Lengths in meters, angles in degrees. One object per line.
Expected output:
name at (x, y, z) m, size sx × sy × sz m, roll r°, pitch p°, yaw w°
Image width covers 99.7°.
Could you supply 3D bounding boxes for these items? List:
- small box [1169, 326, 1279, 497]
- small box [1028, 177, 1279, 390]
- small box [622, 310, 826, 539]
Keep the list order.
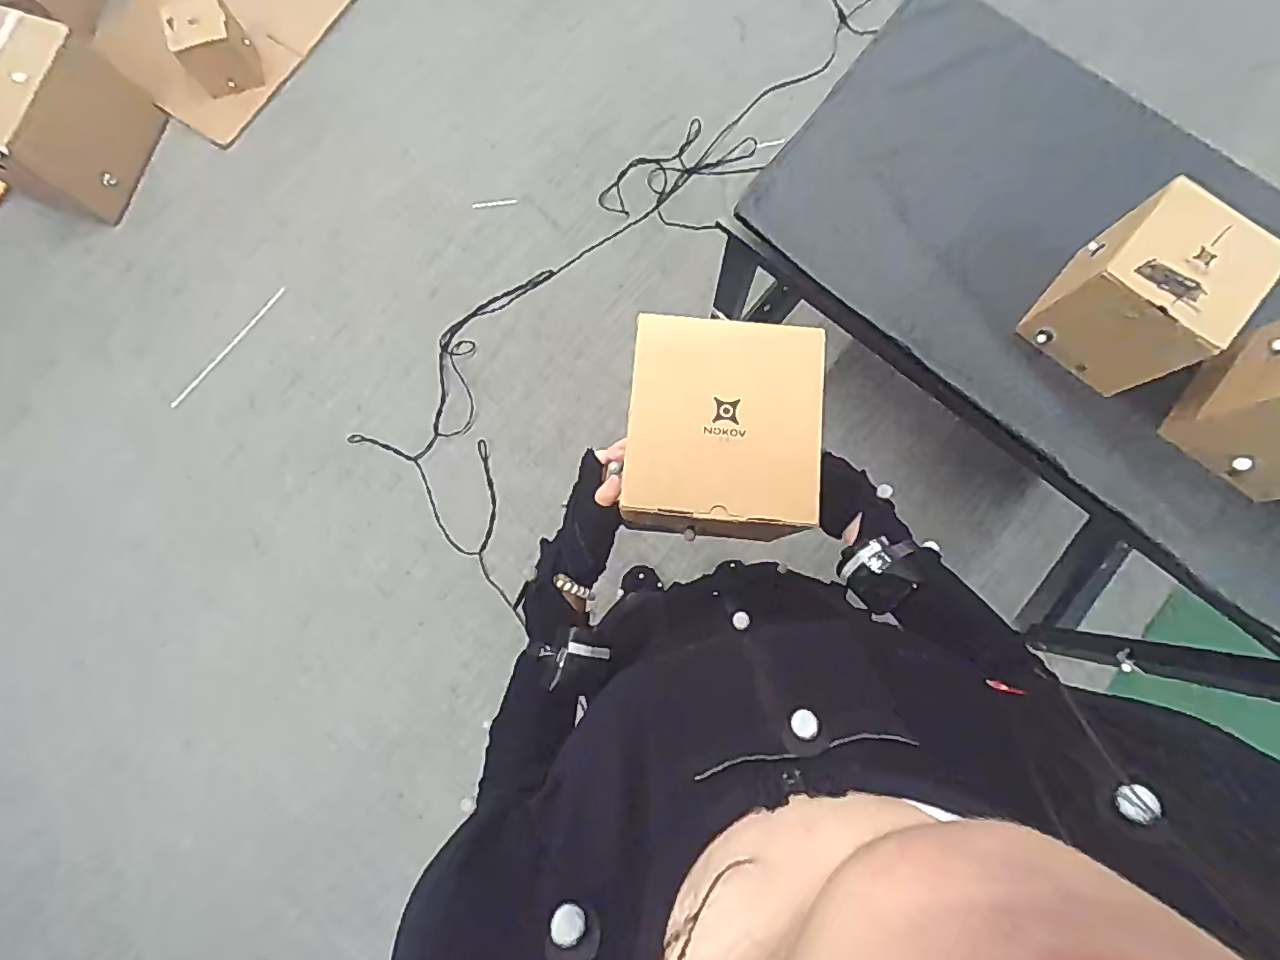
small box at (0.868, -0.100, 0.705) m, size 0.168 × 0.176 × 0.179 m, roll 39°, pitch 83°, yaw 8°
small box at (0.682, -0.252, 0.736) m, size 0.168 × 0.176 × 0.179 m, roll 41°, pitch 83°, yaw 7°
small box at (0.071, -0.041, 0.532) m, size 0.168 × 0.176 × 0.179 m, roll 5°, pitch 80°, yaw 0°
